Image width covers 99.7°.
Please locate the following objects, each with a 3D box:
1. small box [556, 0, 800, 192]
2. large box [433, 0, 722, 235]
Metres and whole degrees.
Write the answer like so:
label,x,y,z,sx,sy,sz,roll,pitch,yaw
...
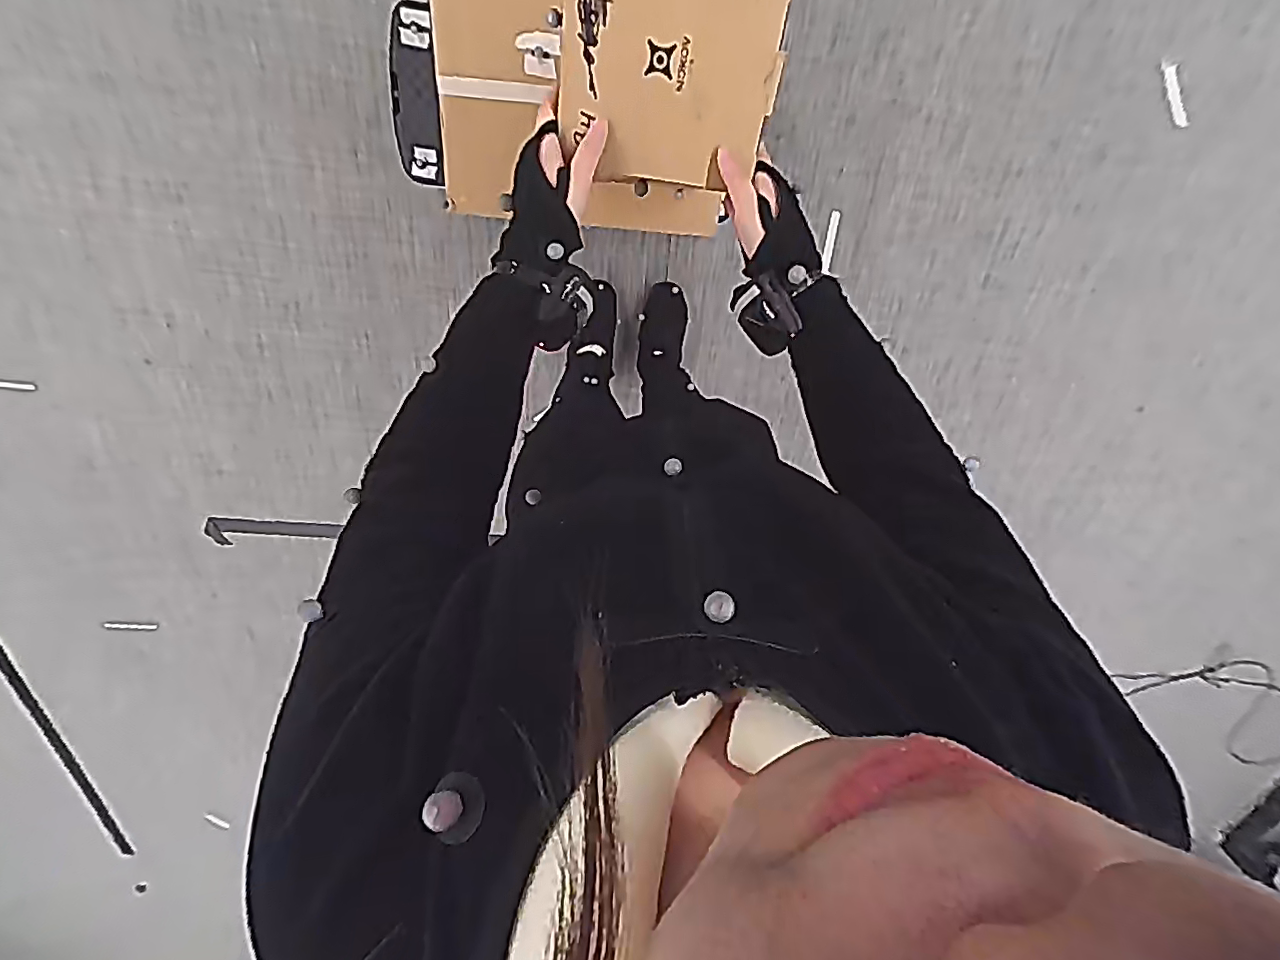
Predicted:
label,x,y,z,sx,sy,sz,roll,pitch,yaw
small box,0.020,-0.370,0.489,0.179,0.176,0.168,5,119,-9
large box,-0.075,-0.589,0.865,0.408,0.320,0.320,3,118,-4
